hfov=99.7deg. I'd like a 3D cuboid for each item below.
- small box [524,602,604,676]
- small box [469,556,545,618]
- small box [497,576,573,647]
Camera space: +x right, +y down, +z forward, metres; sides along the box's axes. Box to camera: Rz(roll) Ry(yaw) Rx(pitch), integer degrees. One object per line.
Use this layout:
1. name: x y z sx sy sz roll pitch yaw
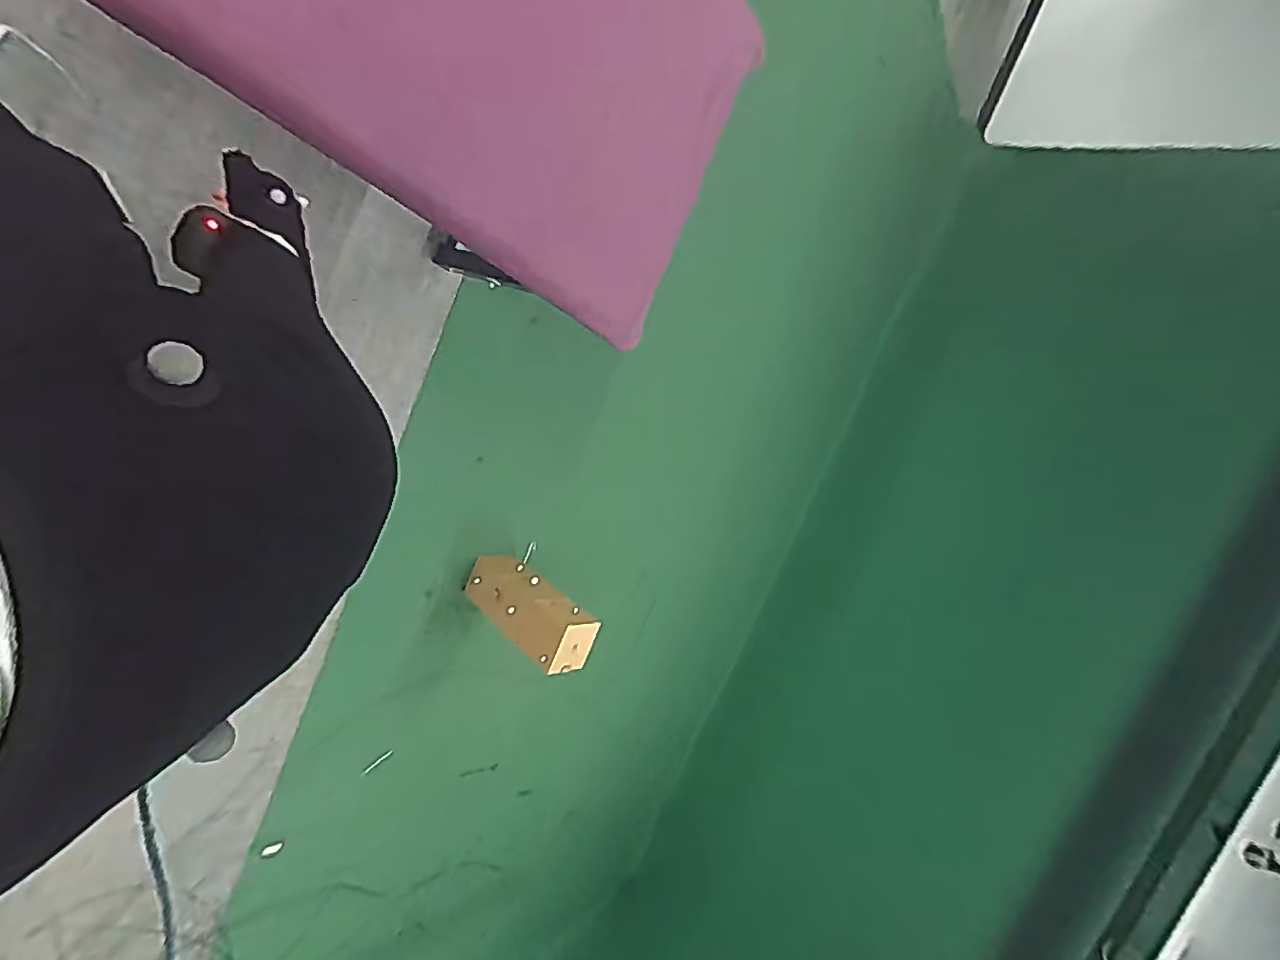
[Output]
1. small box: -0.255 0.513 1.785 0.168 0.176 0.179 14 102 -53
2. small box: -0.488 0.388 1.977 0.179 0.176 0.168 15 99 -52
3. small box: -0.370 0.456 1.880 0.168 0.176 0.179 18 98 -55
